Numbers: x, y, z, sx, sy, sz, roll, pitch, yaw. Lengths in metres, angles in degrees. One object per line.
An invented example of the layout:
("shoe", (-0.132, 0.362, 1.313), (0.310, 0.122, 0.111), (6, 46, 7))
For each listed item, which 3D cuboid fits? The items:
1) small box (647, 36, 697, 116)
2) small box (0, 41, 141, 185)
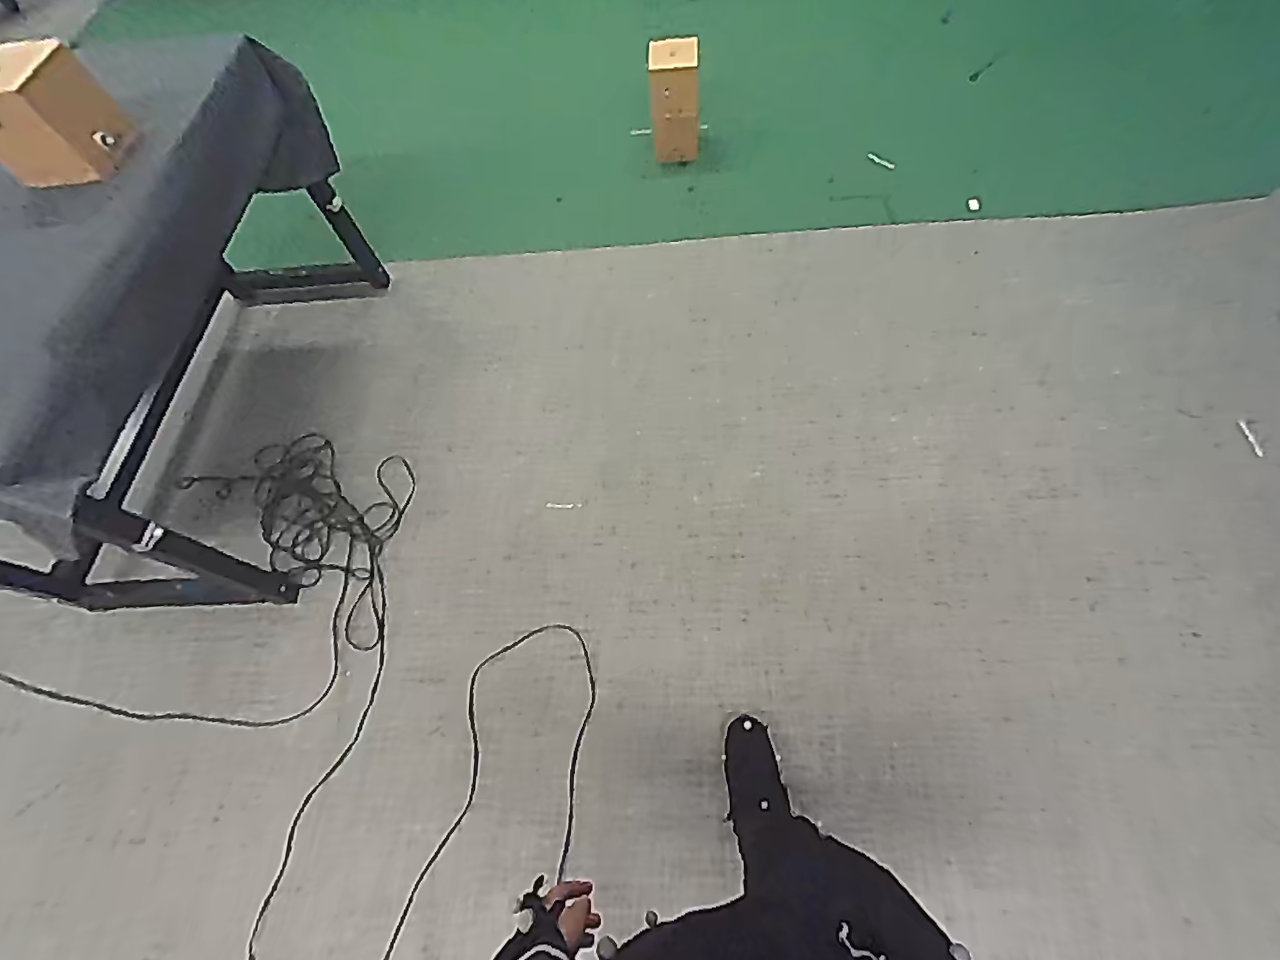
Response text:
("small box", (0.117, -1.403, 1.891), (0.168, 0.176, 0.179), (-1, 63, 6))
("small box", (-1.125, -0.685, 1.022), (0.179, 0.176, 0.168), (-1, 64, 5))
